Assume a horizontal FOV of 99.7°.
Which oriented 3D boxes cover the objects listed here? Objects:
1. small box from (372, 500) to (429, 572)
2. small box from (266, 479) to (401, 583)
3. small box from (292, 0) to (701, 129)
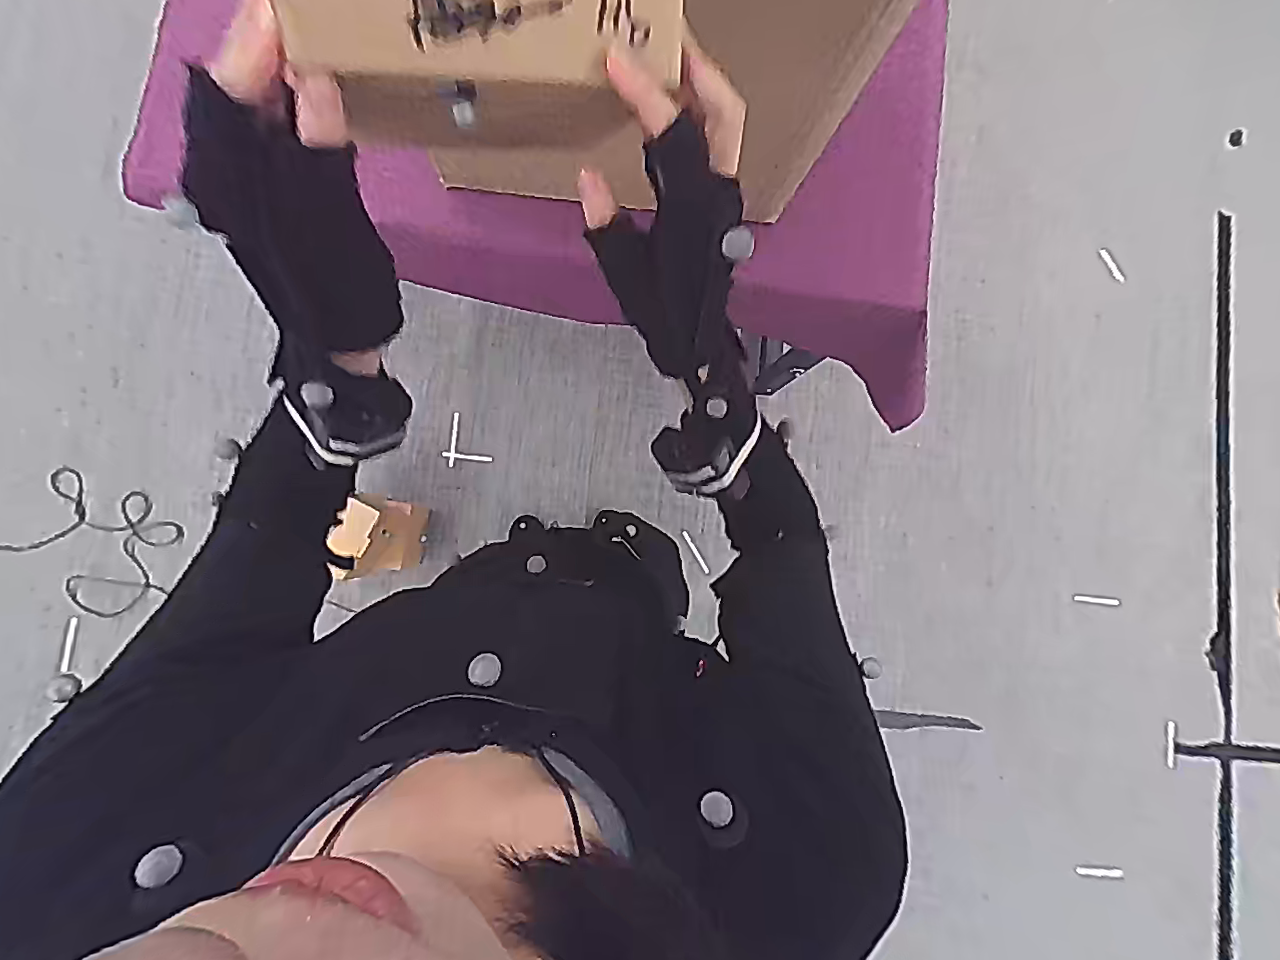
[{"bbox_3d":[-0.662,0.138,1.379,0.179,0.176,0.168,9,85,-5],"label":"small box"},{"bbox_3d":[-0.674,0.113,1.217,0.179,0.176,0.168,27,82,-2],"label":"small box"},{"bbox_3d":[-0.079,-0.285,0.248,0.168,0.176,0.179,-9,114,-17],"label":"small box"}]
